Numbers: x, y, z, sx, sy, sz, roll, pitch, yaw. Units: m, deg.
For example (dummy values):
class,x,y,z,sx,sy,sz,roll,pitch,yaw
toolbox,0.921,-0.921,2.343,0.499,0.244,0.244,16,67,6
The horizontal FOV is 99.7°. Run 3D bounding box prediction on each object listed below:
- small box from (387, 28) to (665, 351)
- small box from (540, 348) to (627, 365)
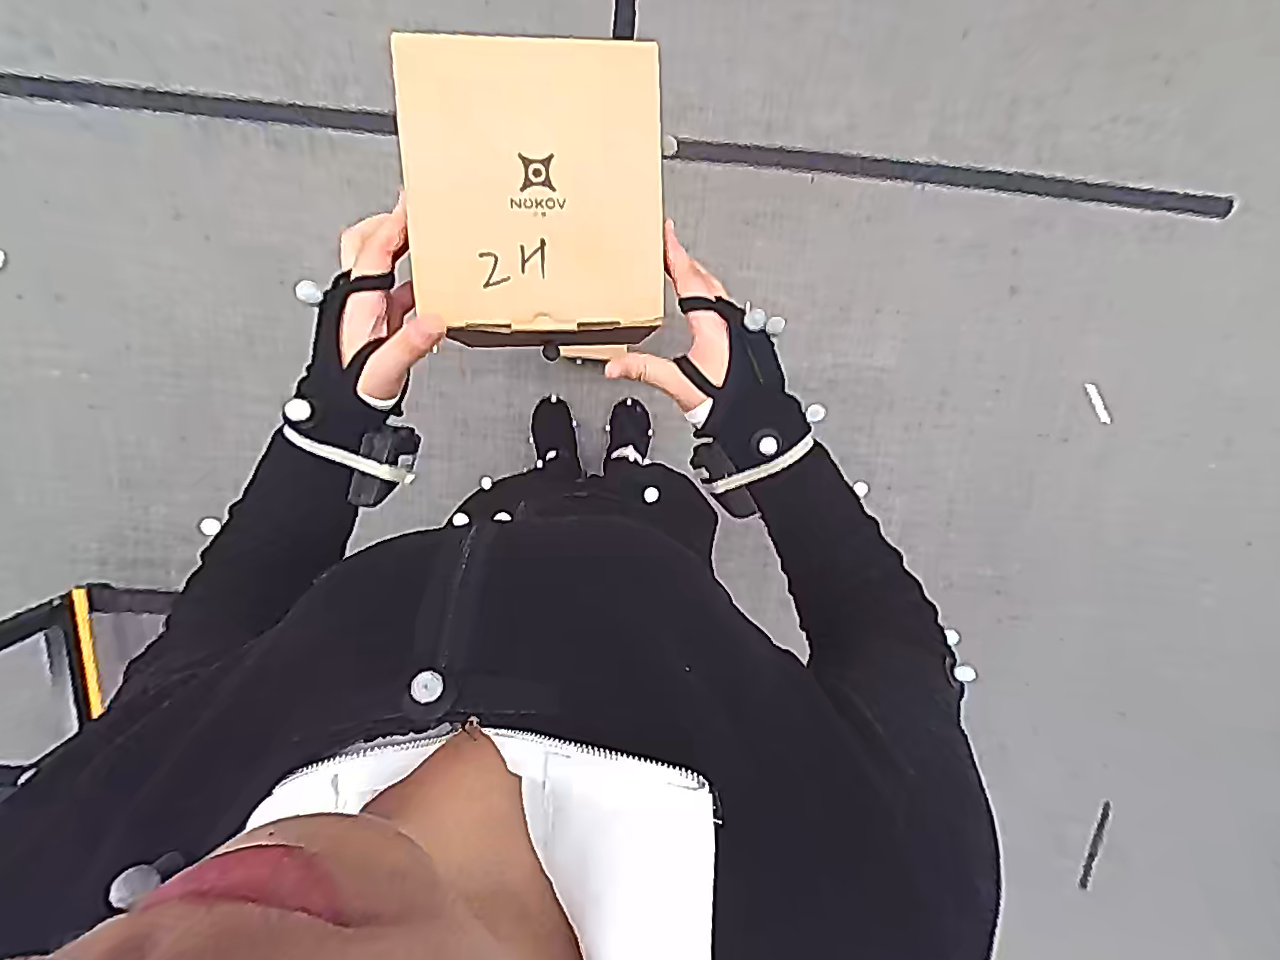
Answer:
class,x,y,z,sx,sy,sz,roll,pitch,yaw
small box,-0.075,-0.194,0.415,0.168,0.176,0.179,-3,101,-6
small box,-0.112,-0.338,1.163,0.179,0.176,0.168,4,103,-3
